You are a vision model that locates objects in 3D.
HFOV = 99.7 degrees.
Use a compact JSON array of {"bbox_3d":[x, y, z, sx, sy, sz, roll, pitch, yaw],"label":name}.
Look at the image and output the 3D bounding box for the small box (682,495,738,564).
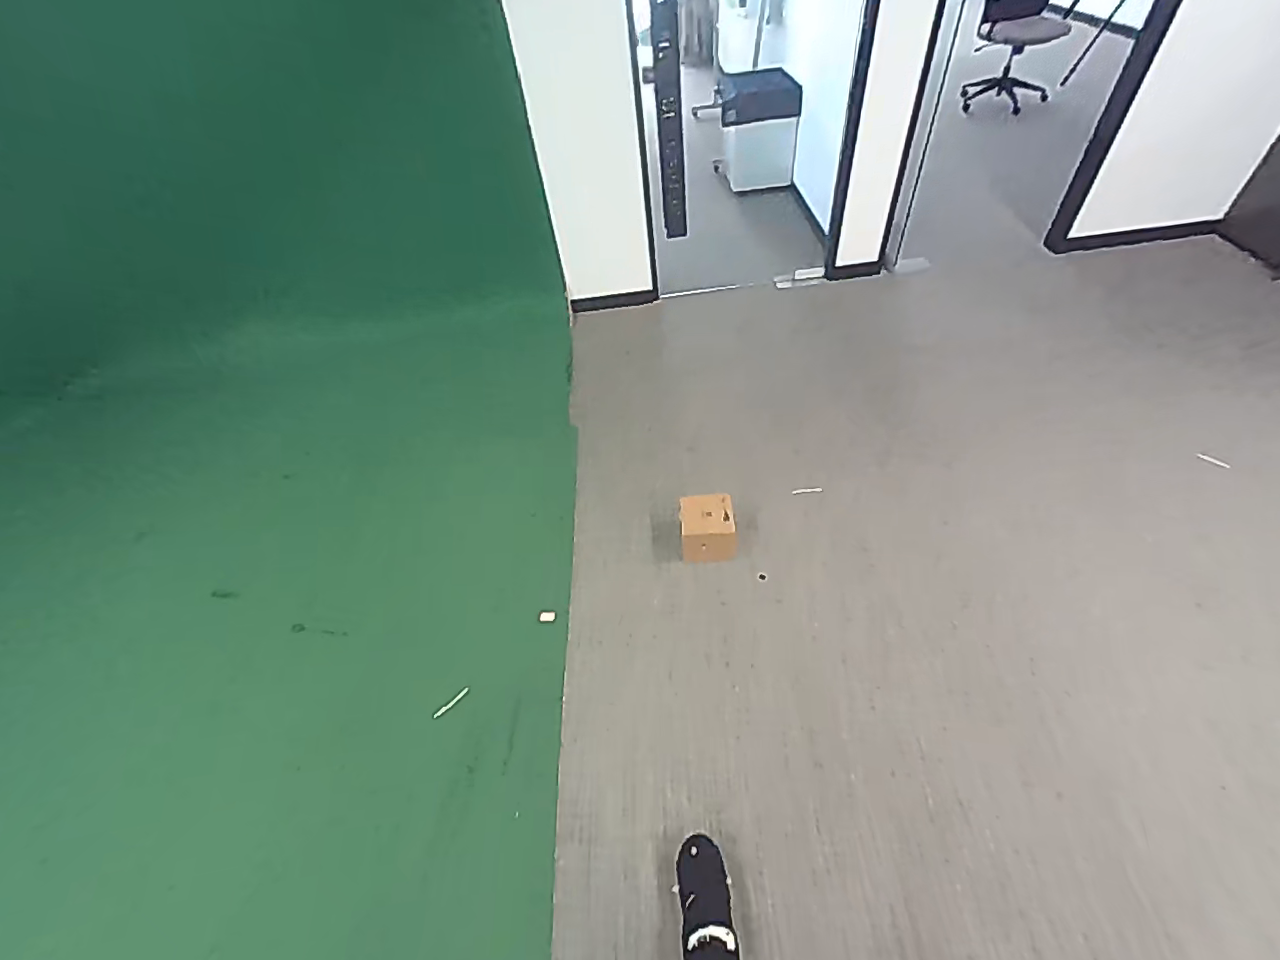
[{"bbox_3d":[0.237,0.172,1.832,0.179,0.176,0.168,-4,48,6],"label":"small box"}]
